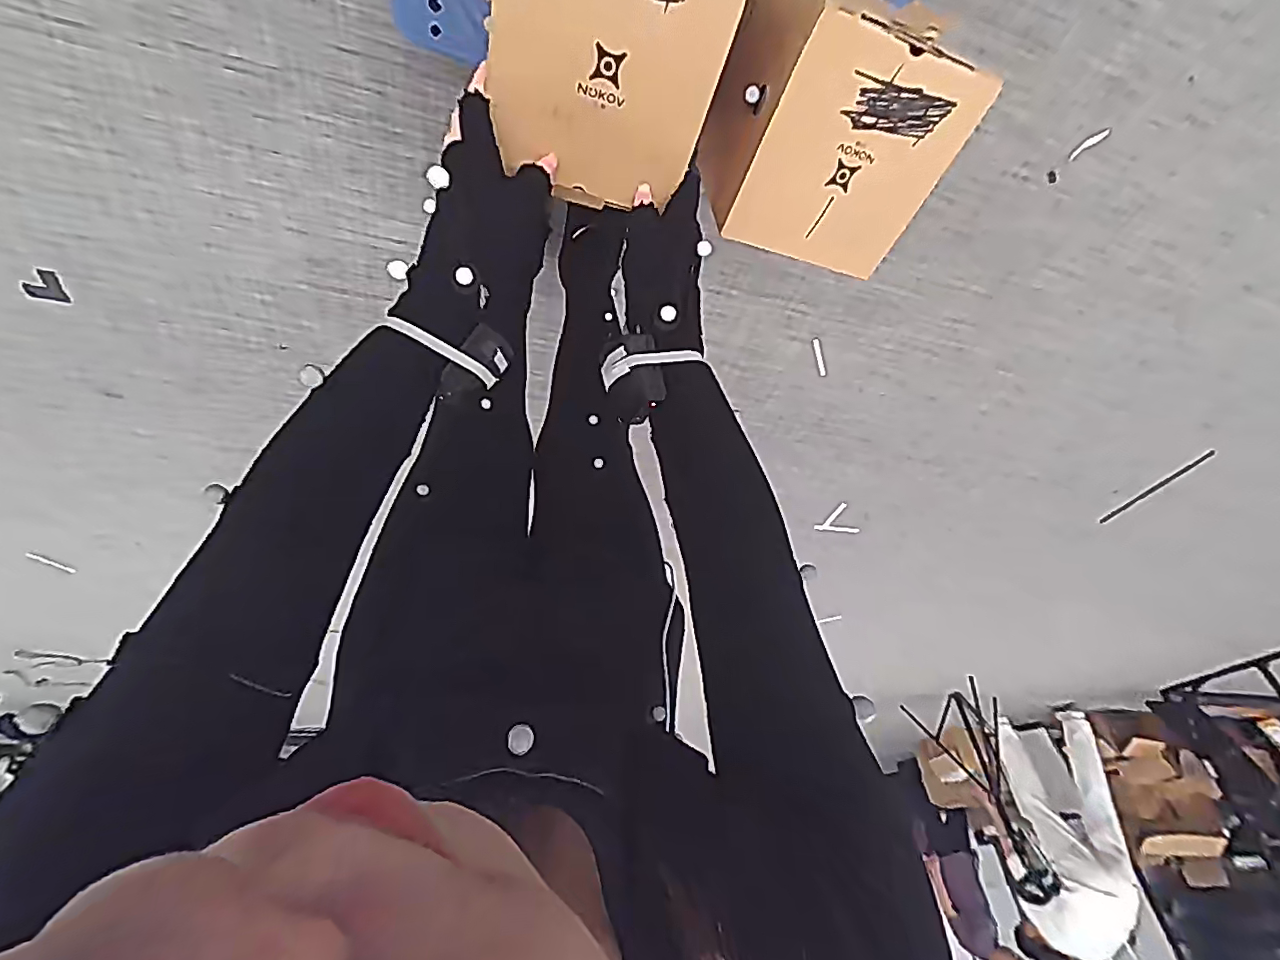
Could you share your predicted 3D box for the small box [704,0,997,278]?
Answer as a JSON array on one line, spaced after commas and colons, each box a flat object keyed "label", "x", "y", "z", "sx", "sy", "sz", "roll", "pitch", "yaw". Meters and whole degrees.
[{"label": "small box", "x": 0.171, "y": -0.329, "z": 0.507, "sx": 0.168, "sy": 0.176, "sz": 0.179, "roll": 9, "pitch": 140, "yaw": -16}]

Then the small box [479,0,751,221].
[{"label": "small box", "x": -0.032, "y": -0.358, "z": 0.447, "sx": 0.168, "sy": 0.176, "sz": 0.179, "roll": 8, "pitch": 141, "yaw": -17}]
